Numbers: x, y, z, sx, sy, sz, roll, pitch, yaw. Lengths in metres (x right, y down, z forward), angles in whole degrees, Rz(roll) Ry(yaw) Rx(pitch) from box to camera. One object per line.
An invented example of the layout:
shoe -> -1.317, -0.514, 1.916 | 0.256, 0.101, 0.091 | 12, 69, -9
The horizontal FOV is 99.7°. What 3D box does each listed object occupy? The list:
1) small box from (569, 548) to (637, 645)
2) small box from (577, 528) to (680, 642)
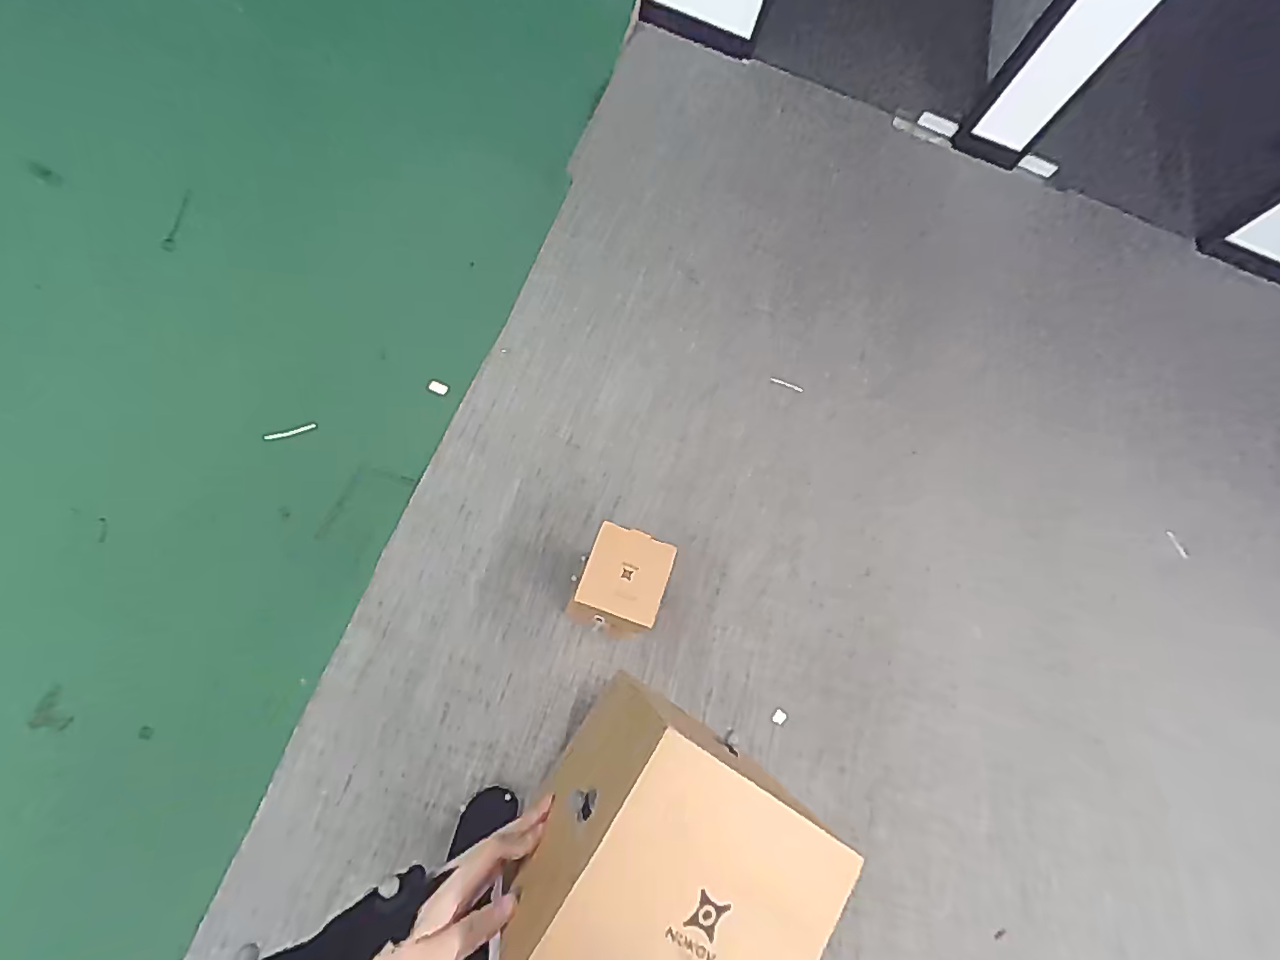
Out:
small box -> -0.062, 0.284, 1.293 | 0.168, 0.176, 0.179 | 24, 68, -1
small box -> -0.031, 0.228, 1.143 | 0.168, 0.176, 0.179 | 20, 68, -1
